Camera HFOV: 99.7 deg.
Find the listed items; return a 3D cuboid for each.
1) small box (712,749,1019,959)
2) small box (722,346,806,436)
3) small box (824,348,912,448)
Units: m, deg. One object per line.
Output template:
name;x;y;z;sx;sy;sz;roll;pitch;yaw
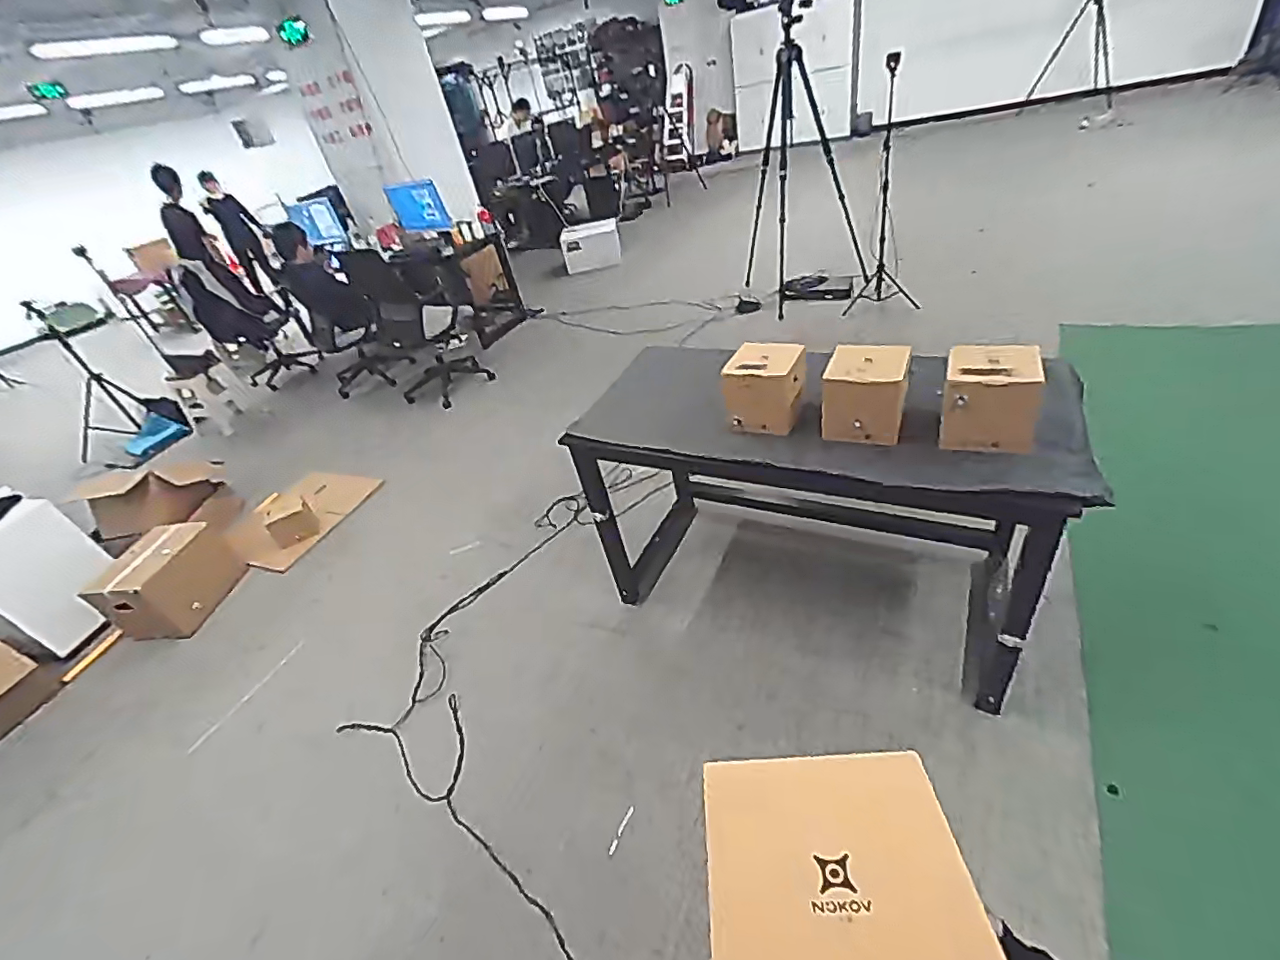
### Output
small box;0.141;0.322;0.380;0.168;0.176;0.179;-7;28;7
small box;0.327;-0.230;1.397;0.168;0.176;0.179;10;42;29
small box;0.537;-0.198;1.280;0.168;0.176;0.179;8;41;29
